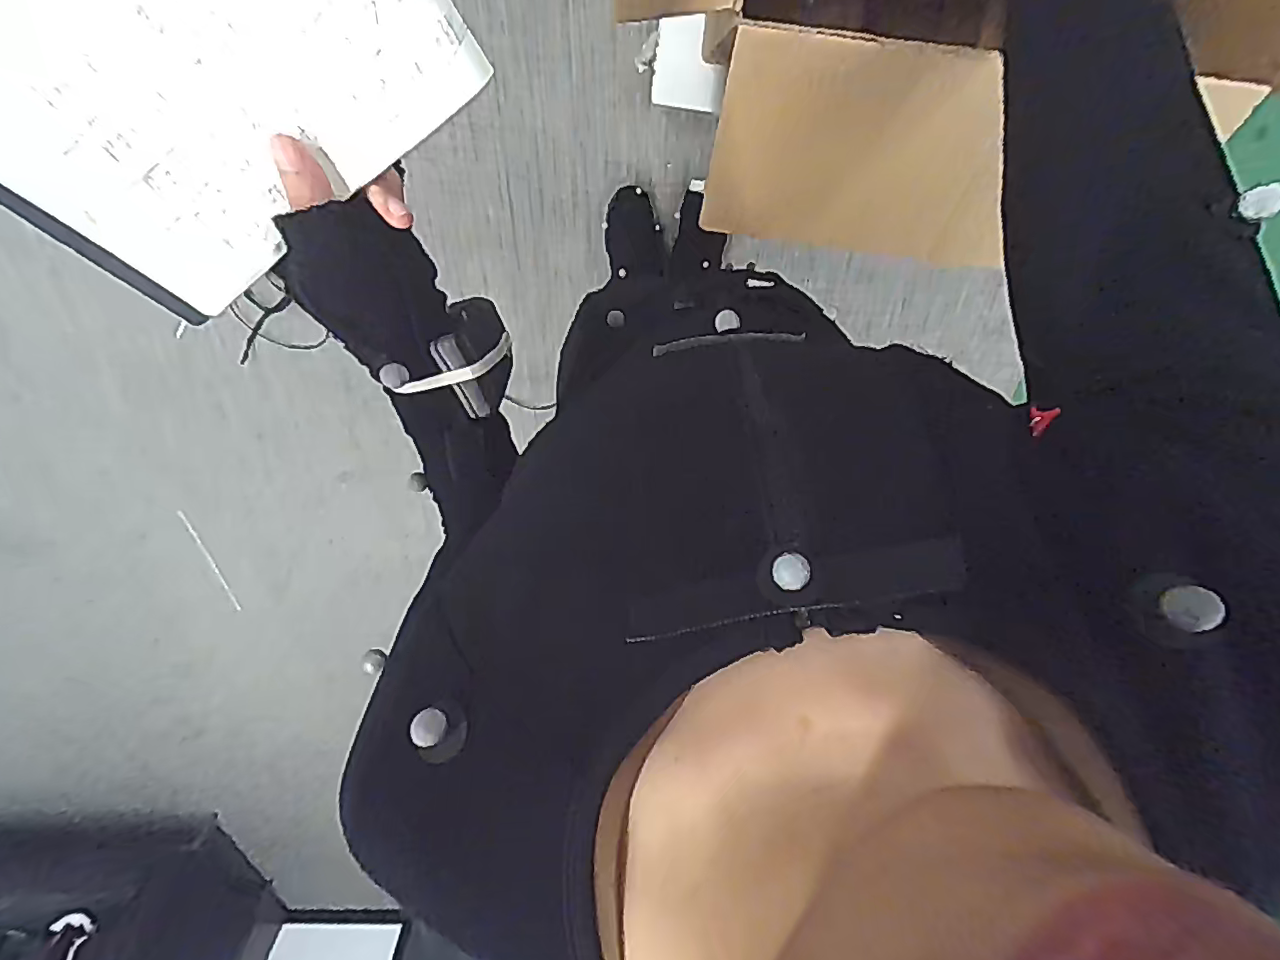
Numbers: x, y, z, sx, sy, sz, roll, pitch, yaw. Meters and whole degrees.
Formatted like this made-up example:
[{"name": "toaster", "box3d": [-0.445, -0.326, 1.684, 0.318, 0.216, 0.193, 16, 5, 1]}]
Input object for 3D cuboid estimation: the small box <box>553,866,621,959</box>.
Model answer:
[{"name": "small box", "box3d": [-0.136, 1.168, 1.454, 0.168, 0.176, 0.179, -1, 124, 1]}]
